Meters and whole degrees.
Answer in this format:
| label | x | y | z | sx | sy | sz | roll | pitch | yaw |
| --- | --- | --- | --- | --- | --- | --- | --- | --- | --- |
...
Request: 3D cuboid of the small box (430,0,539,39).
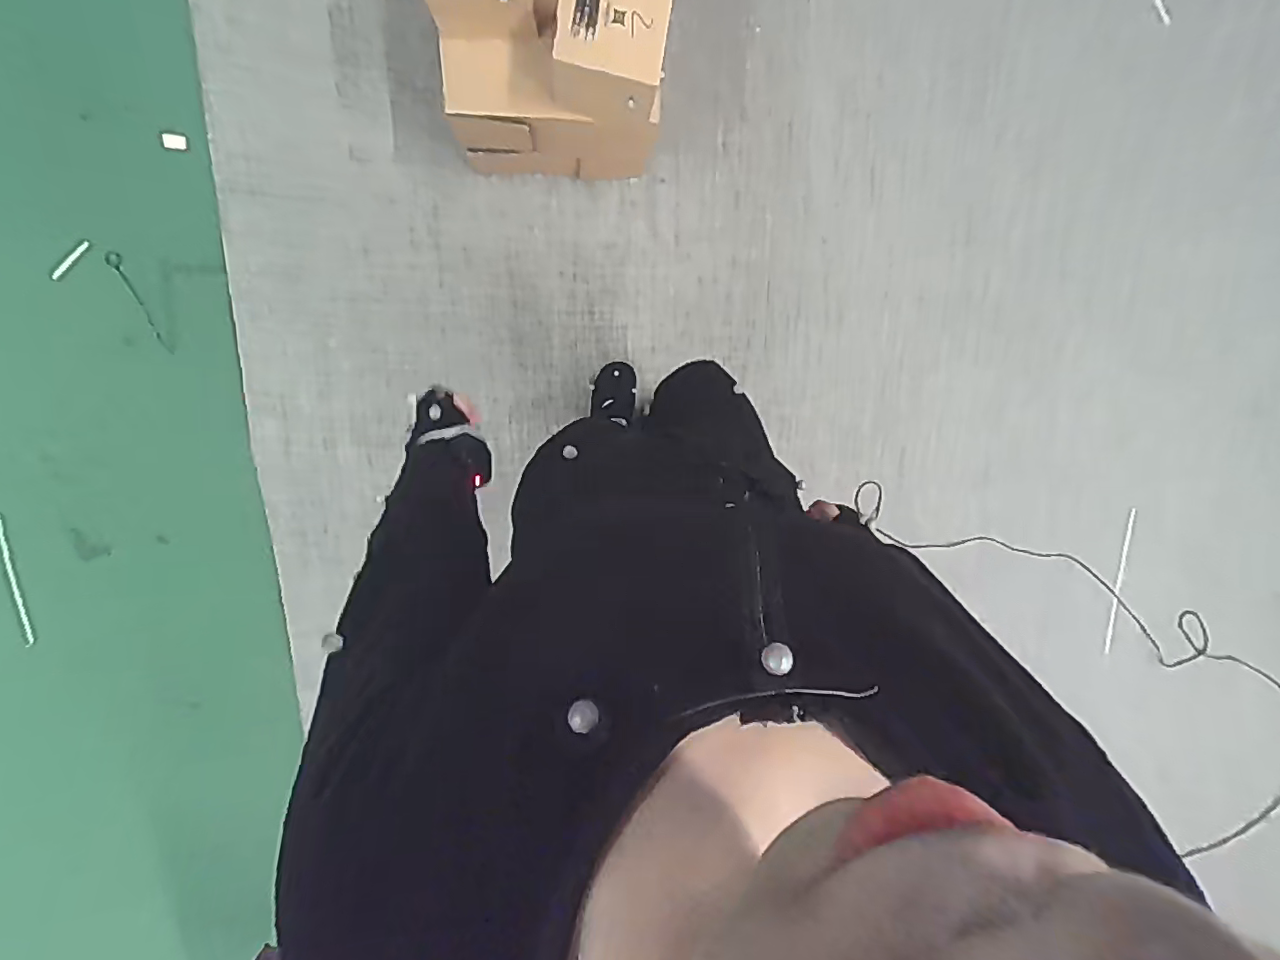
| label | x | y | z | sx | sy | sz | roll | pitch | yaw |
| --- | --- | --- | --- | --- | --- | --- | --- | --- | --- |
| small box | -0.259 | -0.863 | 0.883 | 0.179 | 0.176 | 0.168 | -2 | 101 | -4 |
